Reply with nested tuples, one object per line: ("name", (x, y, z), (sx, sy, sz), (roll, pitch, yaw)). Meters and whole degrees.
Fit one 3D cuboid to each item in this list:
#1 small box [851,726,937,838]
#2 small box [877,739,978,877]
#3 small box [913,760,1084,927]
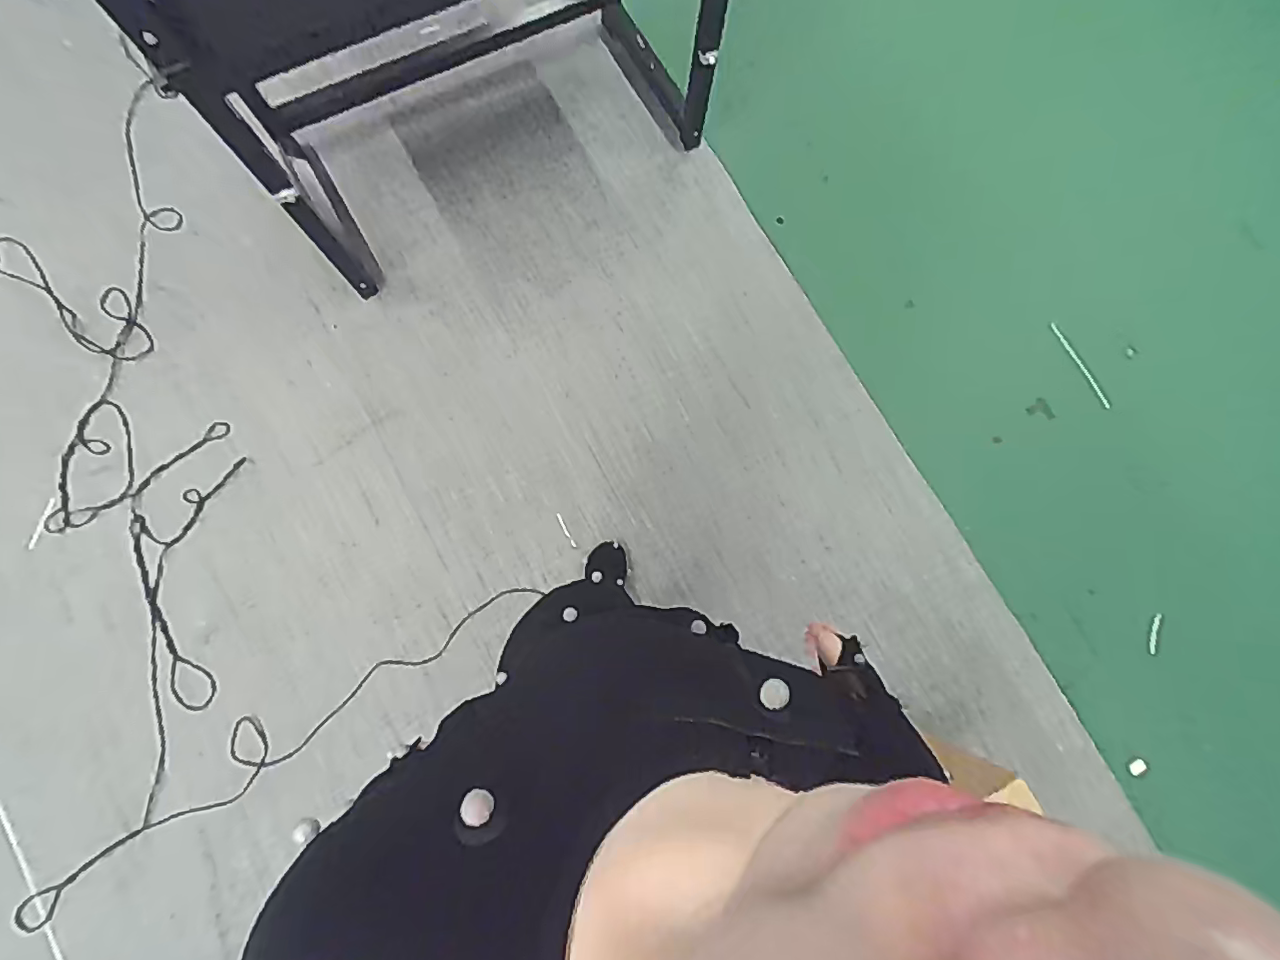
("small box", (0.663, 0.740, 1.353), (0.168, 0.176, 0.179), (-24, 81, -7))
("small box", (0.666, 0.710, 1.193), (0.168, 0.176, 0.179), (-27, 81, -8))
("small box", (0.670, 0.677, 1.031), (0.168, 0.176, 0.179), (-27, 82, -8))
